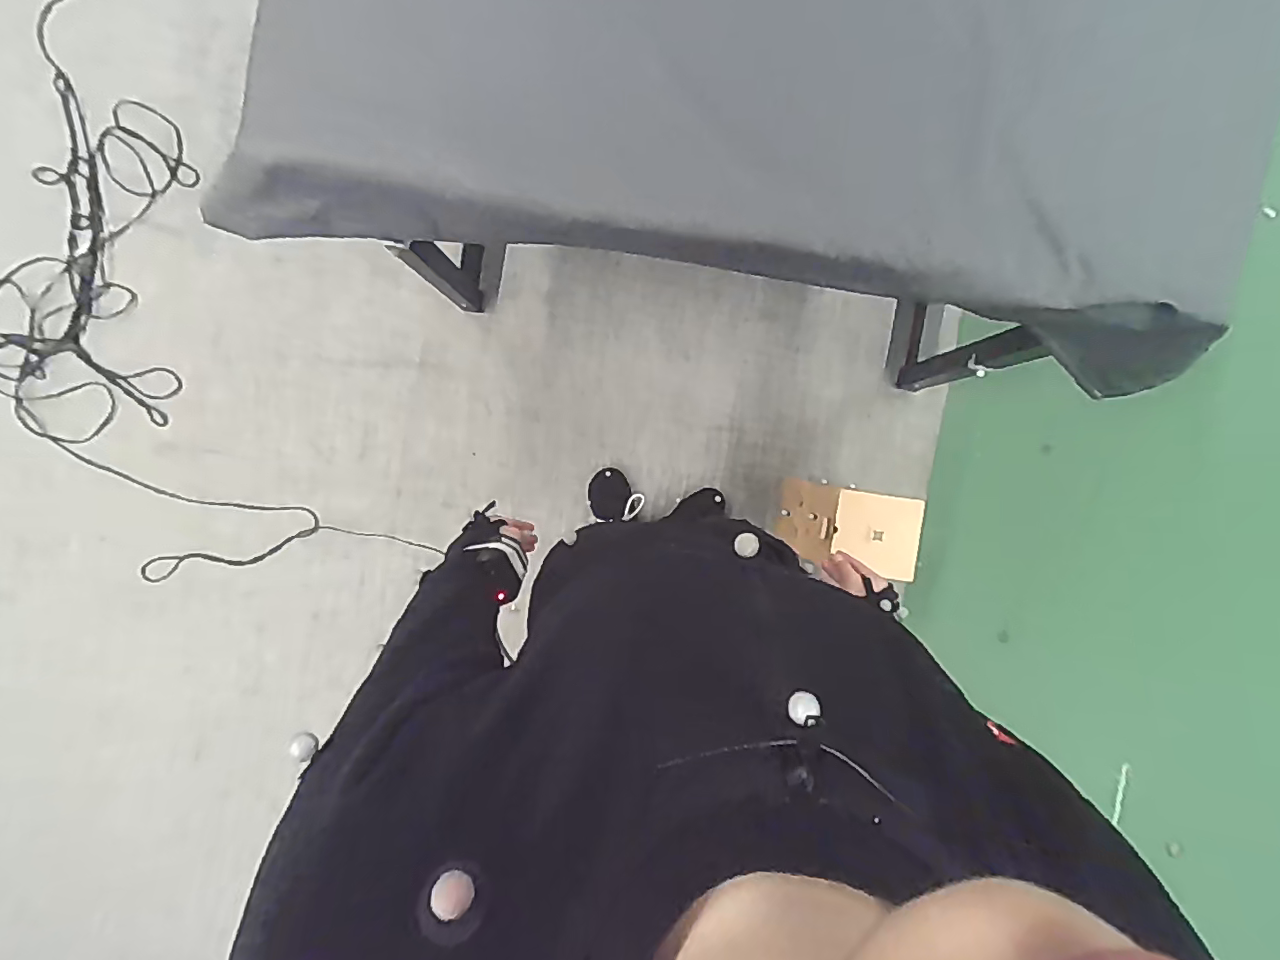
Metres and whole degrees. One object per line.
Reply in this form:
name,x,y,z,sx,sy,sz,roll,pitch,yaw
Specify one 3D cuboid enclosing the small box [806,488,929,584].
small box,0.468,0.109,1.135,0.179,0.176,0.168,8,92,0
